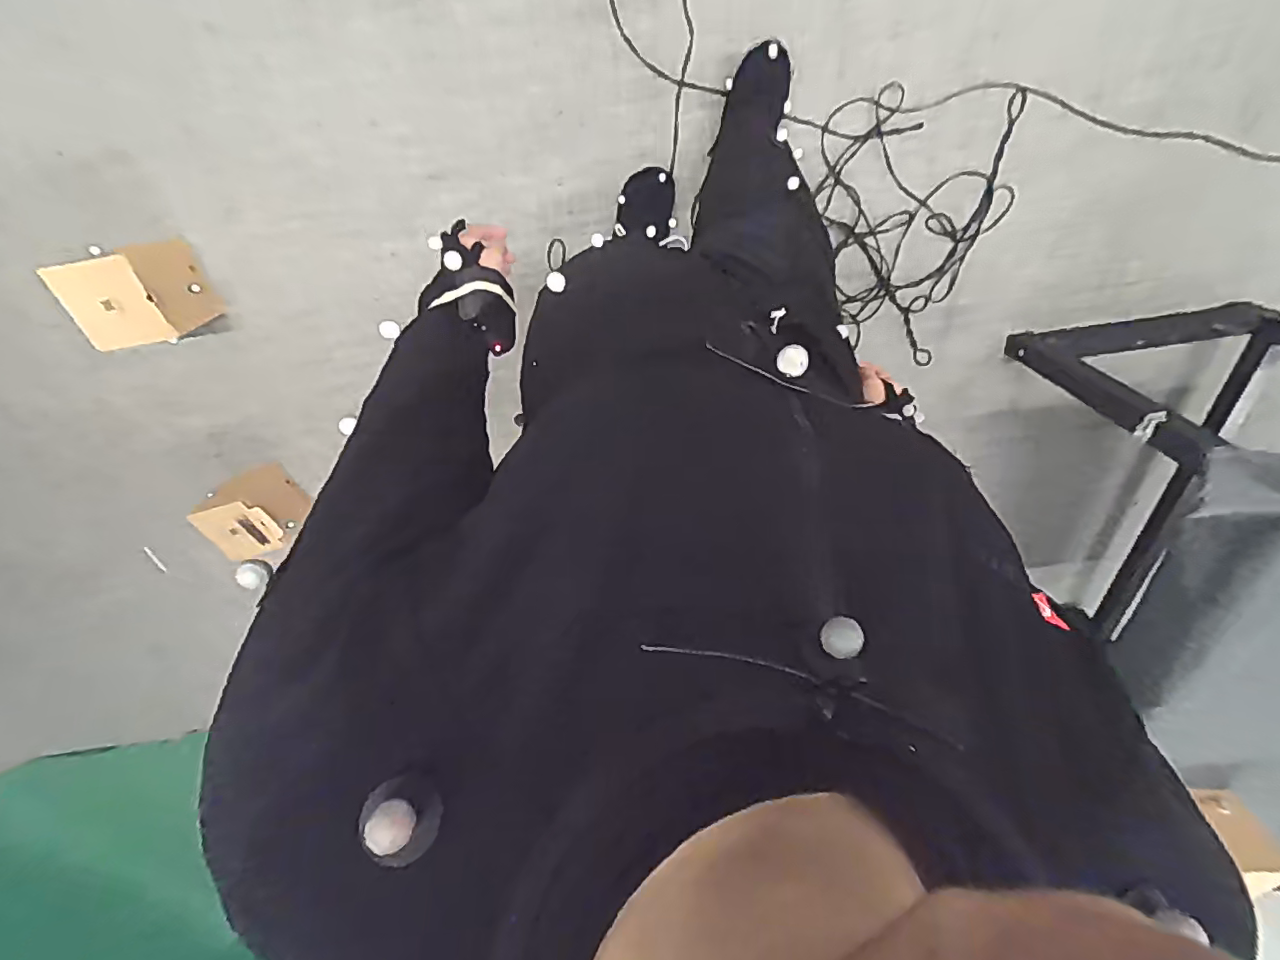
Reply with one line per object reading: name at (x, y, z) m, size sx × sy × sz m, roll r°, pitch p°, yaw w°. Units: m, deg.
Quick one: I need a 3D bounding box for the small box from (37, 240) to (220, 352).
small box at (-1.031, -0.381, 1.112) m, size 0.179 × 0.176 × 0.168 m, roll -9°, pitch 125°, yaw 2°

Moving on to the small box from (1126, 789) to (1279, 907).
small box at (1.251, 0.816, 1.202) m, size 0.168 × 0.176 × 0.179 m, roll 4°, pitch 123°, yaw -8°
